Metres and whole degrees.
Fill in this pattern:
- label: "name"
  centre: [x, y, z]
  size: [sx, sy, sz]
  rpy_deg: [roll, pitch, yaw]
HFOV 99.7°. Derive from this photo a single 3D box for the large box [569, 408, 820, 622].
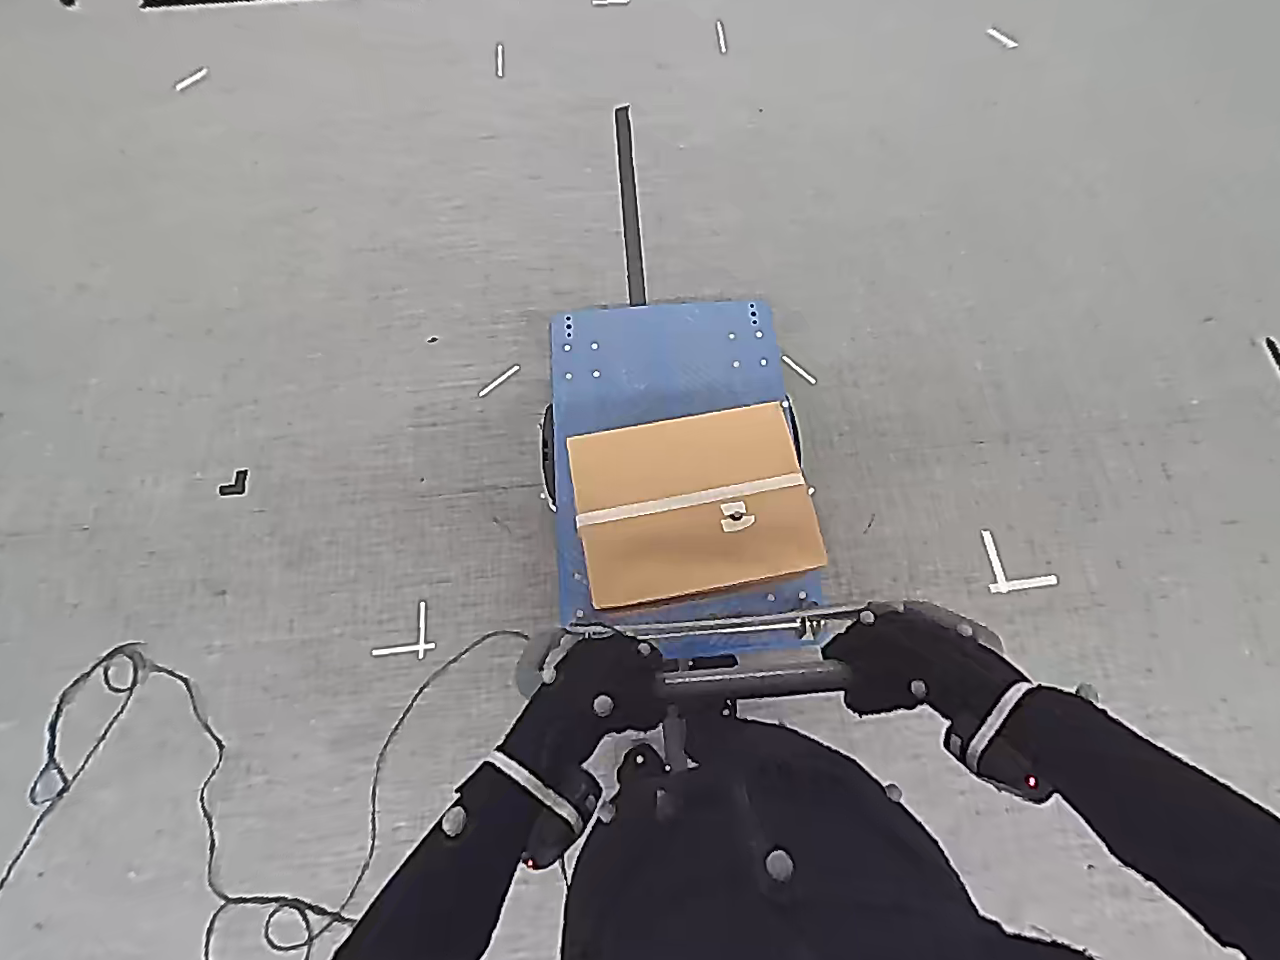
- label: "large box"
  centre: [0.088, 0.088, 1.109]
  size: [0.408, 0.320, 0.320]
  rpy_deg: [-10, 73, -4]
